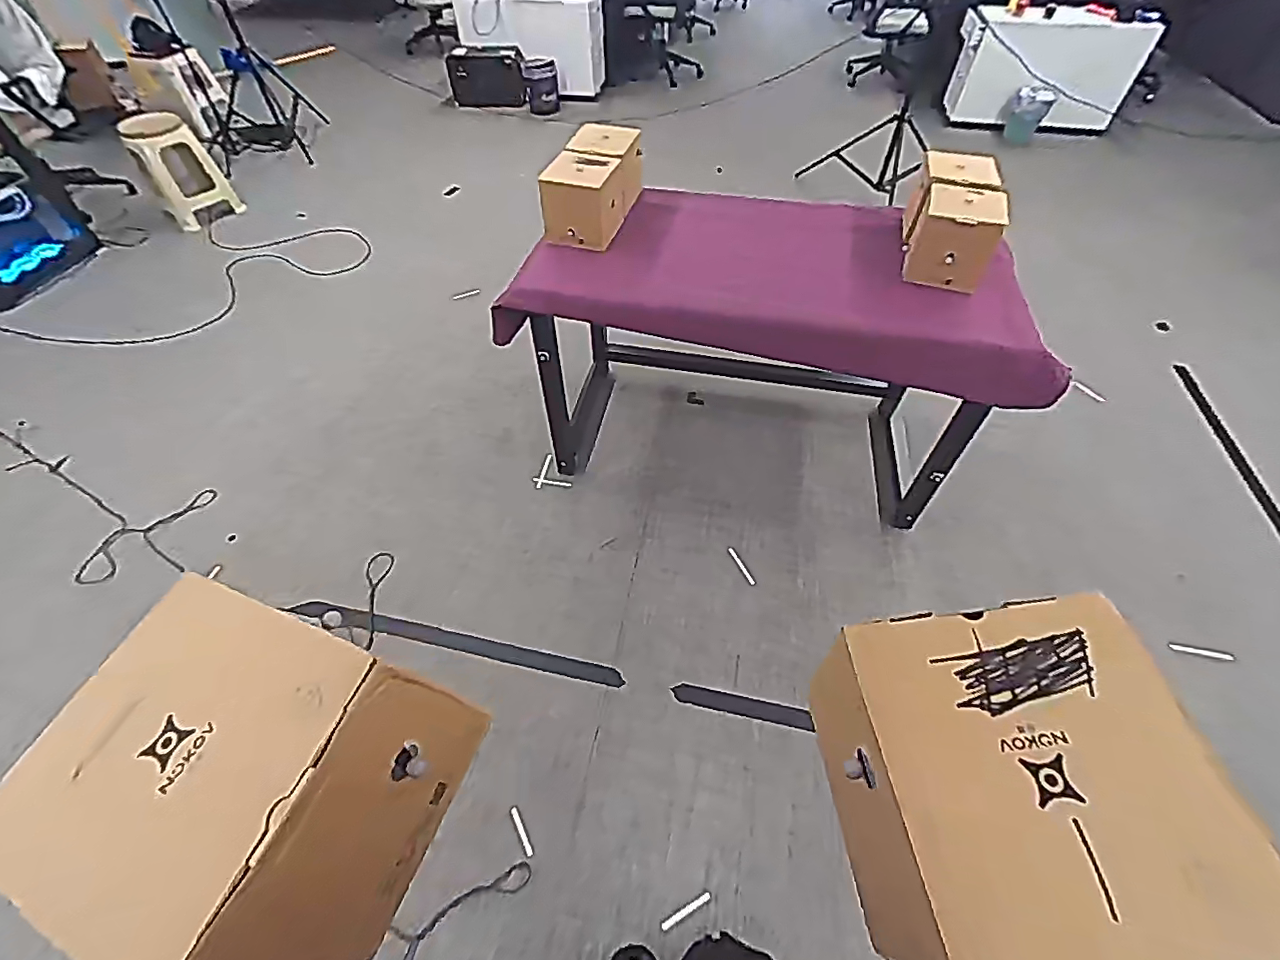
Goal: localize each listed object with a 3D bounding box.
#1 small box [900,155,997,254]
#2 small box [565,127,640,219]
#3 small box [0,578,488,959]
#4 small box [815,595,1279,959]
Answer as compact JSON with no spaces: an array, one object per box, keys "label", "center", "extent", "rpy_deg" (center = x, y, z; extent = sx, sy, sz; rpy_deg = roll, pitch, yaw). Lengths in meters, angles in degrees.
[{"label":"small box","center":[0.797,-0.722,1.418],"extent":[0.168,0.176,0.179],"rpy_deg":[13,52,9]},{"label":"small box","center":[-0.102,-0.872,1.536],"extent":[0.168,0.176,0.179],"rpy_deg":[12,53,10]},{"label":"small box","center":[-0.234,0.193,0.362],"extent":[0.179,0.176,0.168],"rpy_deg":[13,58,20]},{"label":"small box","center":[0.228,0.198,0.357],"extent":[0.168,0.176,0.179],"rpy_deg":[-9,55,2]}]
